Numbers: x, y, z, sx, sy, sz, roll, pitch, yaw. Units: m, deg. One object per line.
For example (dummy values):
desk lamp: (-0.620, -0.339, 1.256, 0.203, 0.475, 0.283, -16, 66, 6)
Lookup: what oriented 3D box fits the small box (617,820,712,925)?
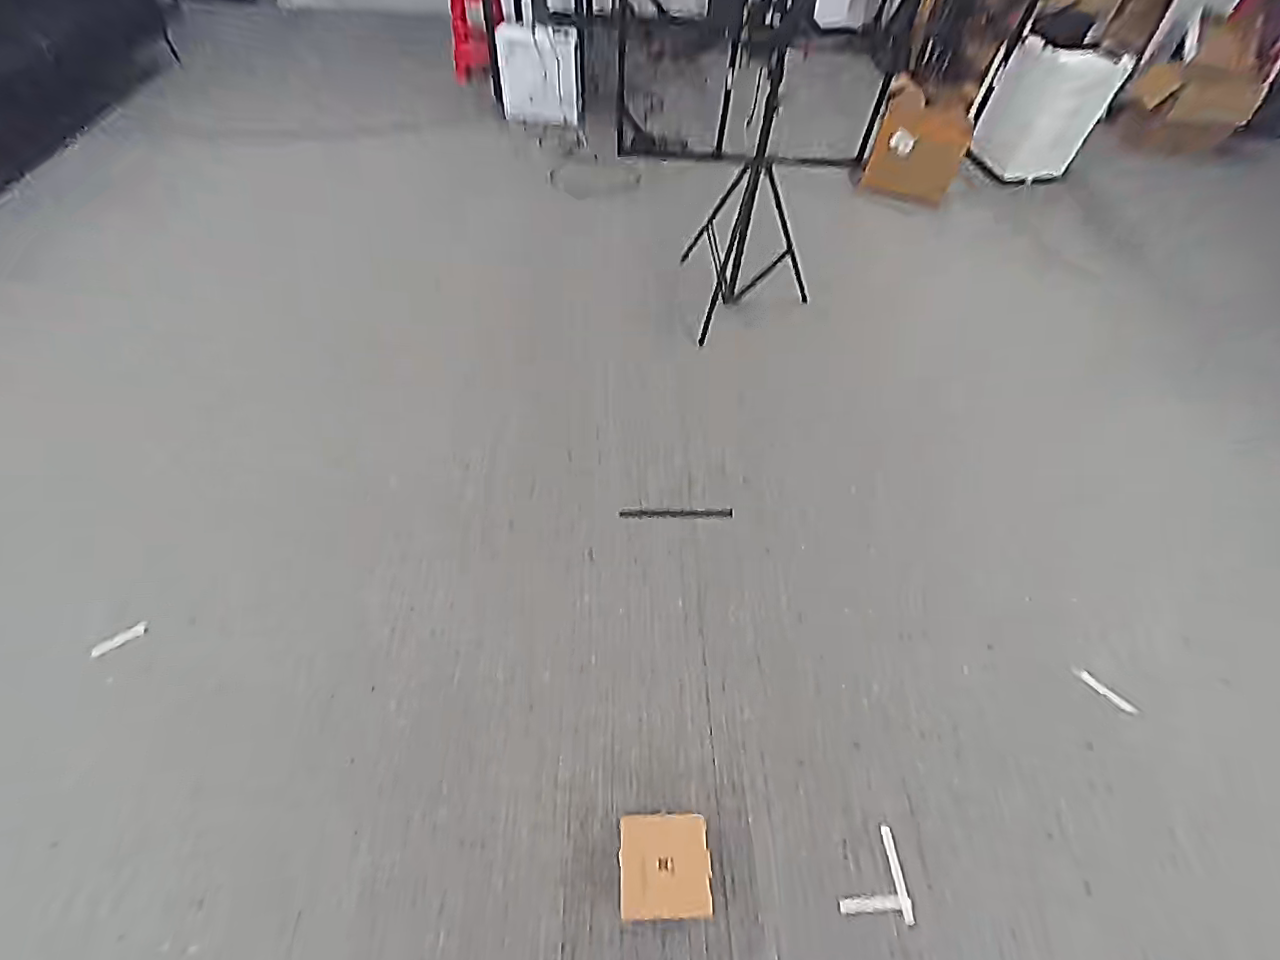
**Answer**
small box: (0.042, 0.806, 1.117, 0.179, 0.176, 0.168, 0, 53, -3)
